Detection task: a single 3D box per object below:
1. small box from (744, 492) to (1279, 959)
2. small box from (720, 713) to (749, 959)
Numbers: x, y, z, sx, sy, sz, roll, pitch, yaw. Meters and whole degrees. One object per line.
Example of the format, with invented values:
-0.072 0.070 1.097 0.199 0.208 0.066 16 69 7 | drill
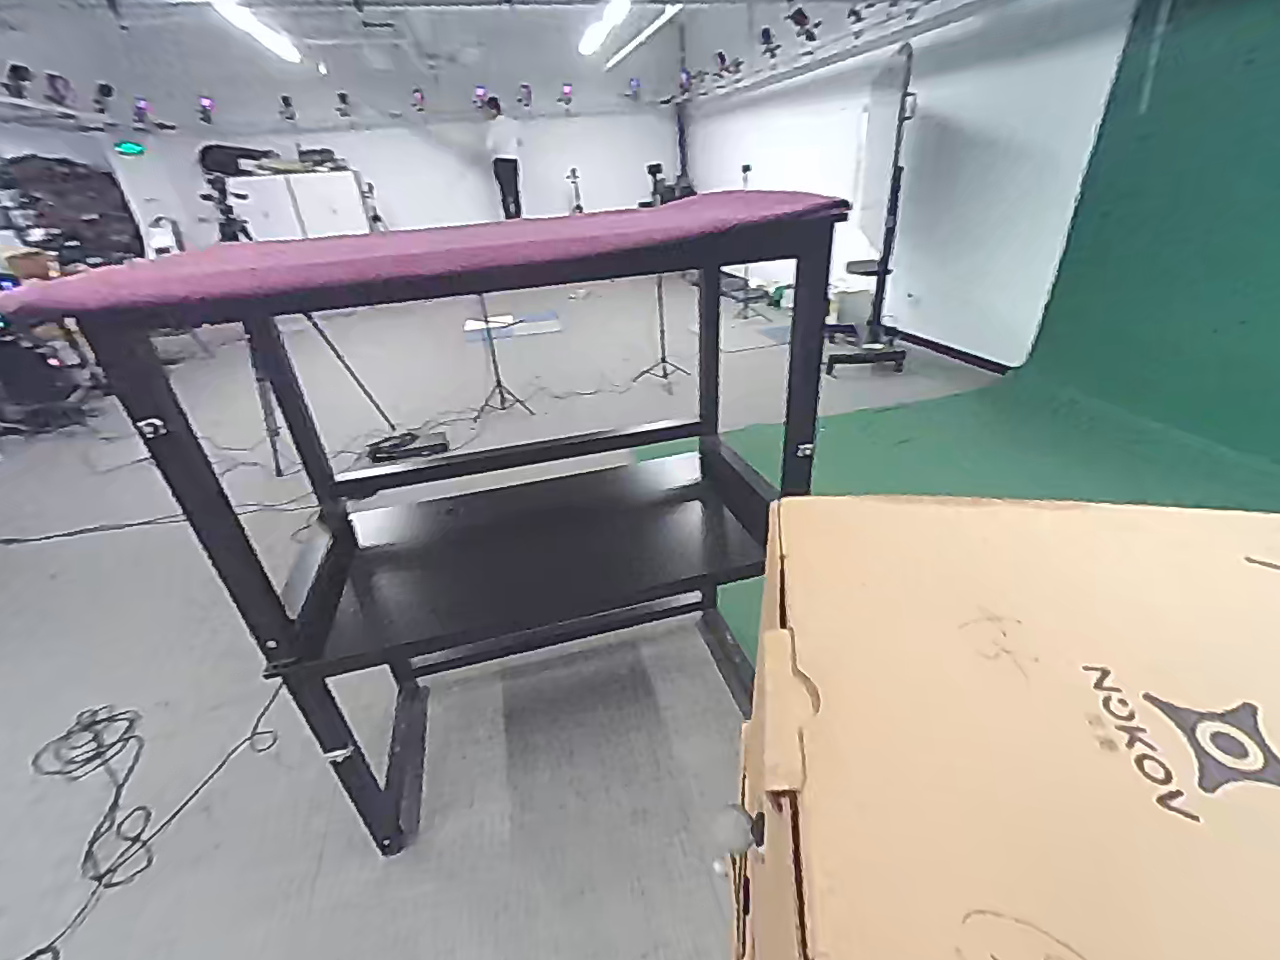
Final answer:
0.124 0.121 0.178 0.179 0.176 0.168 2 38 10 | small box
0.130 0.250 0.279 0.179 0.176 0.168 4 38 10 | small box
